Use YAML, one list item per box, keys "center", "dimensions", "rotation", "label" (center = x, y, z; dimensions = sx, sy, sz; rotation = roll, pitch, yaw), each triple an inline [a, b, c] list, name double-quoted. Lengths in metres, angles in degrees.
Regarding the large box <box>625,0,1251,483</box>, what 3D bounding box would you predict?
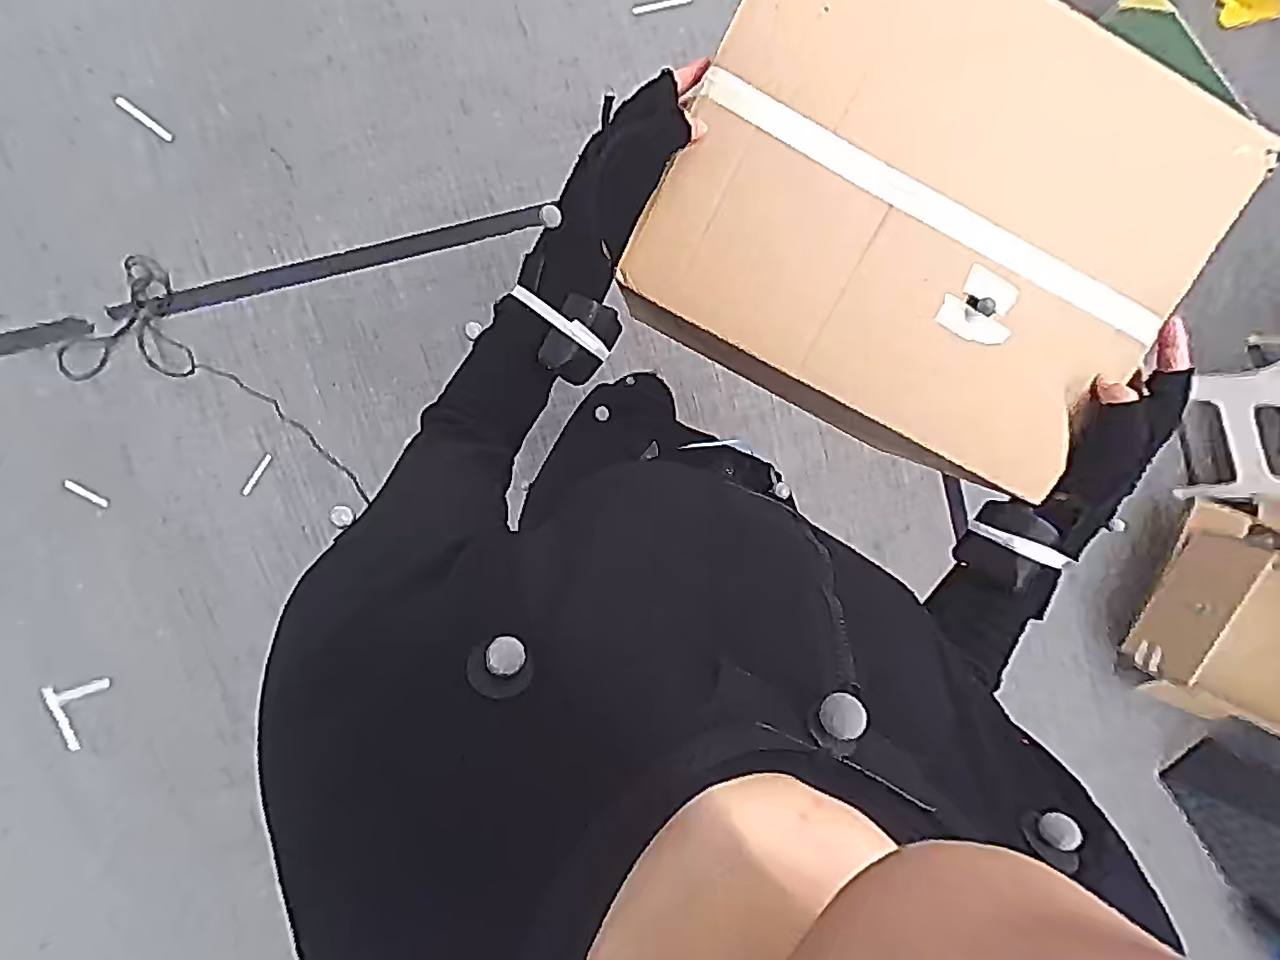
- center: [0.228, -0.245, 0.573]
  dimensions: [0.408, 0.320, 0.320]
  rotation: [27, 102, -5]
  label: "large box"
